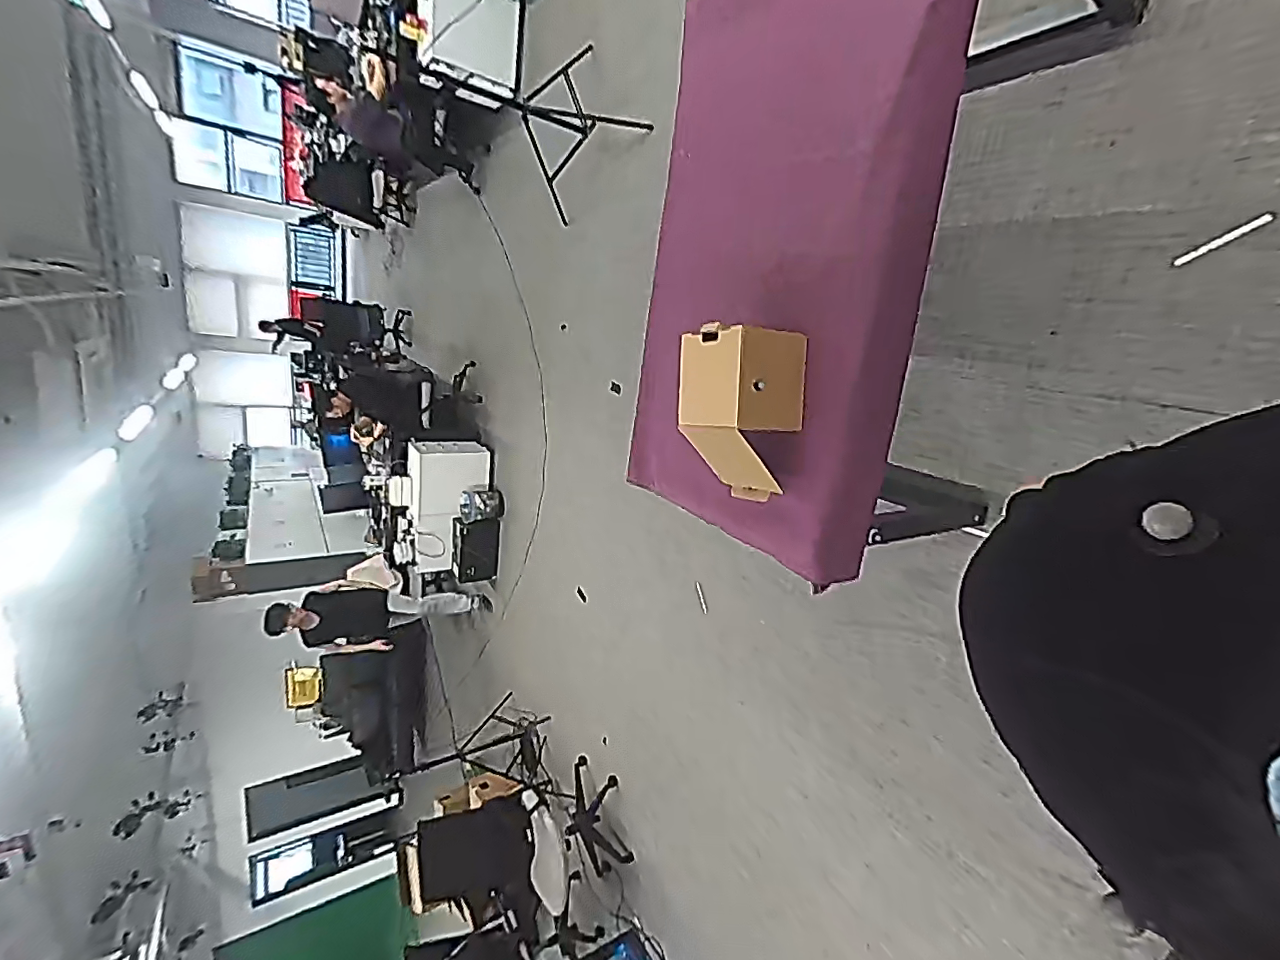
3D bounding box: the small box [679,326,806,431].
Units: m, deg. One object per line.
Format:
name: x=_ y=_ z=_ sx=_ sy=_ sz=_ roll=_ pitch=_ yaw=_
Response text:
small box: x=0.190 y=-0.183 z=1.007 sx=0.168 sy=0.176 sz=0.179 roll=12 pitch=102 yaw=55
